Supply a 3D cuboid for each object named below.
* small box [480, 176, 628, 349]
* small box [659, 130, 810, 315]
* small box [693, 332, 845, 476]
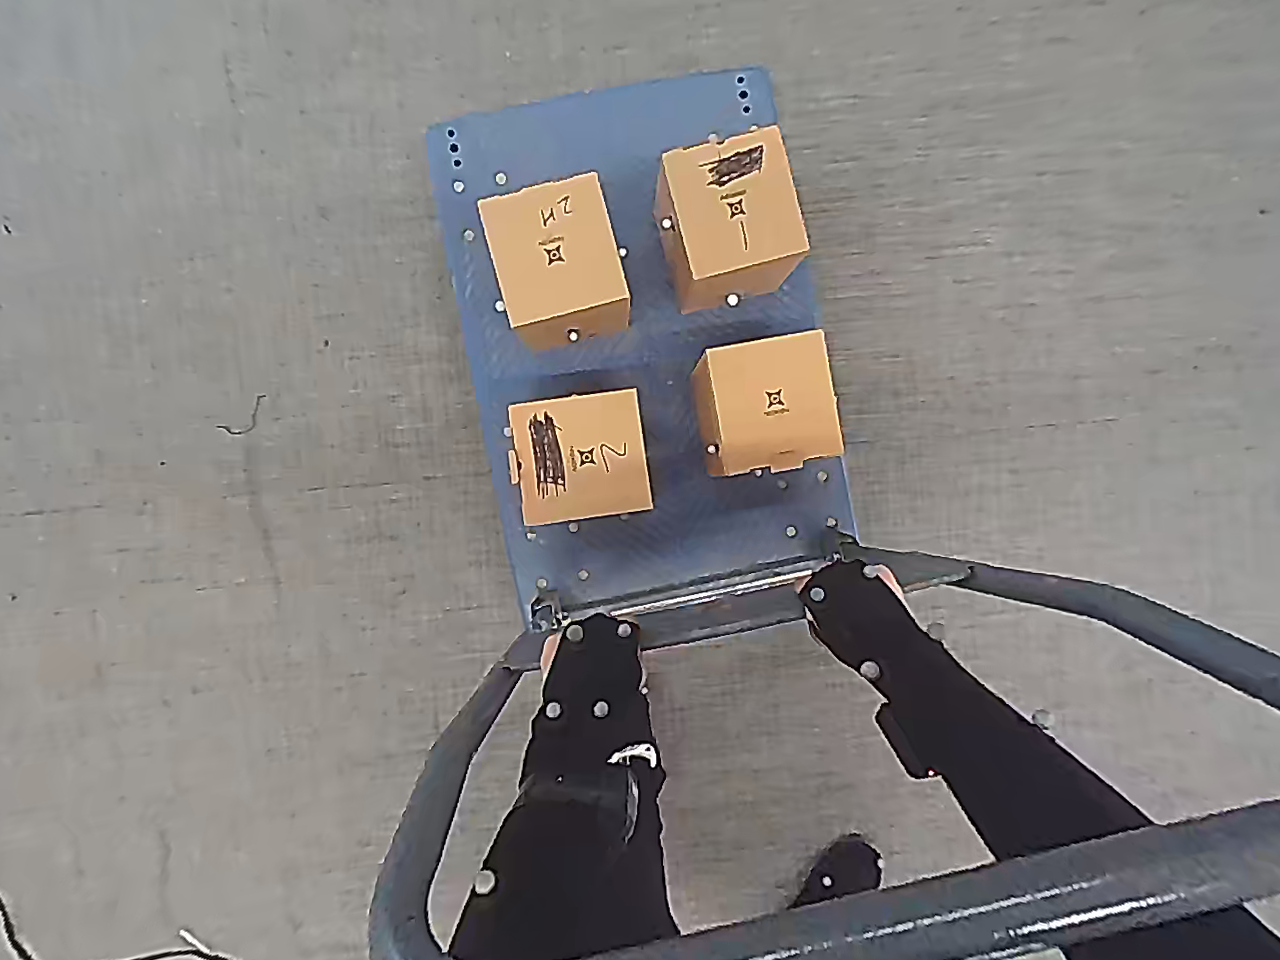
[{"bbox_3d":[-0.115,-0.302,0.795,0.168,0.176,0.179,-15,91,-2],"label":"small box"},{"bbox_3d":[0.128,-0.368,0.802,0.168,0.176,0.179,-15,92,-1],"label":"small box"},{"bbox_3d":[0.181,-0.103,0.809,0.168,0.176,0.179,-10,91,-2],"label":"small box"}]
